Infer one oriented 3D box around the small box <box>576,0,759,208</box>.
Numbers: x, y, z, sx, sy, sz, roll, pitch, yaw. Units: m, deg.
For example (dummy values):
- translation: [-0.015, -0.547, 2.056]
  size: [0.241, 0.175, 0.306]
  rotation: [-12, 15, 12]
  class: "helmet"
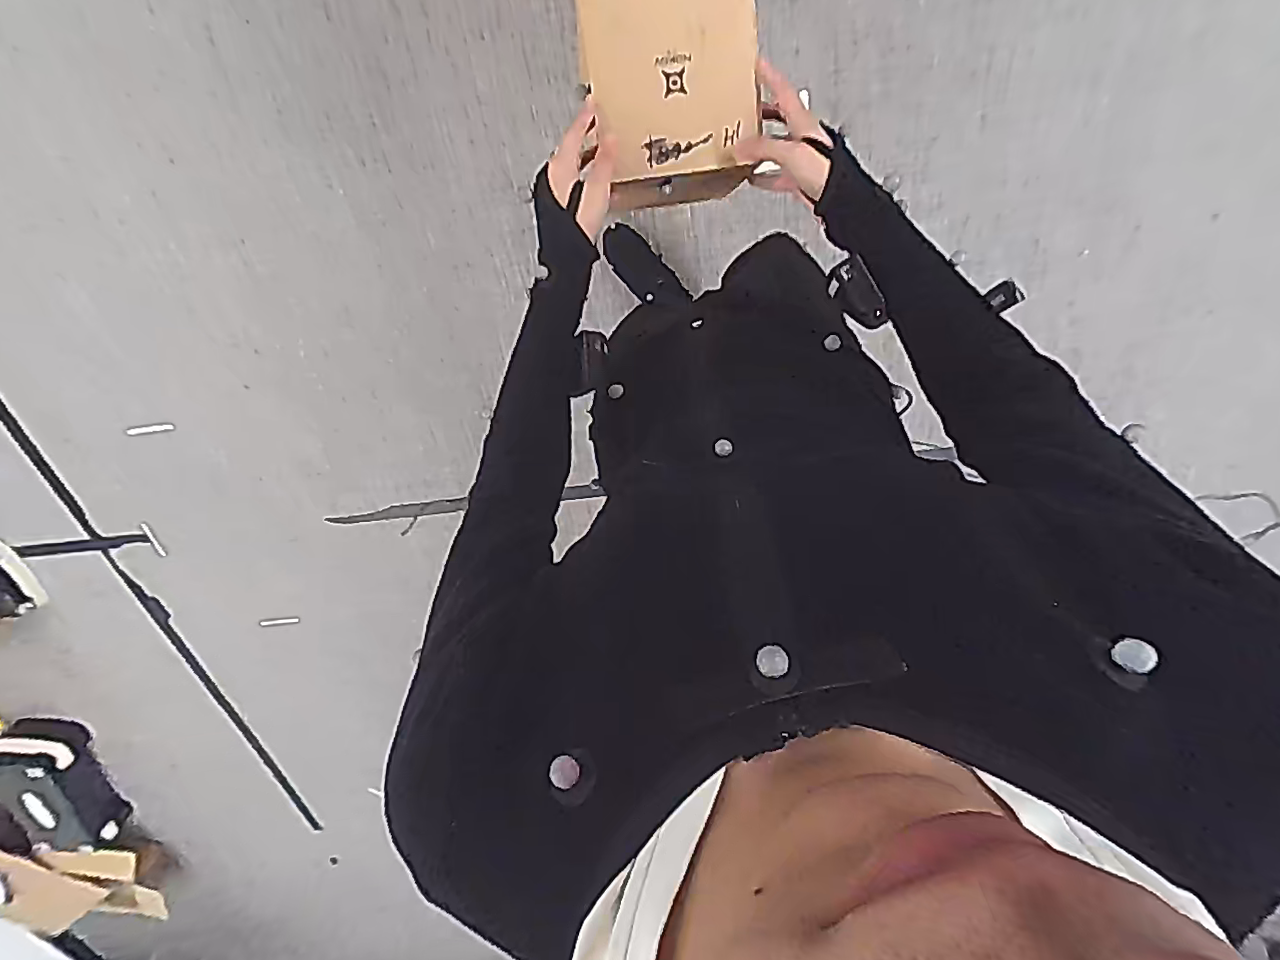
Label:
- translation: [0.022, -0.414, 0.586]
  size: [0.168, 0.176, 0.179]
  rotation: [-8, 108, -2]
  class: "small box"
